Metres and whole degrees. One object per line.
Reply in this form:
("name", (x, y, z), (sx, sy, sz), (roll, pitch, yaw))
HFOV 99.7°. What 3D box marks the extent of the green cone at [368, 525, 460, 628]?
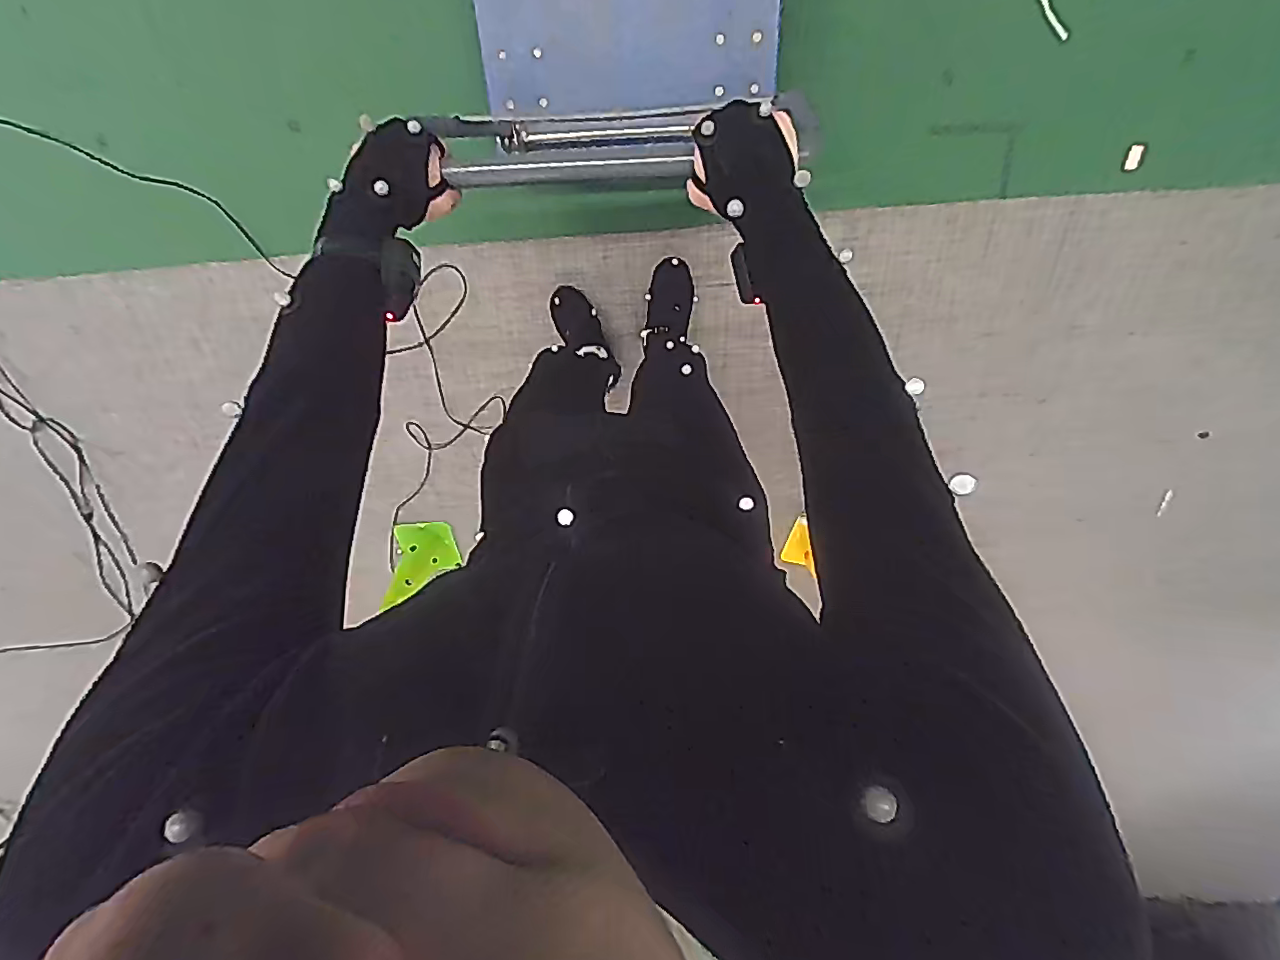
("green cone", (-0.756, 0.326, 1.728), (0.202, 0.368, 0.200), (-5, 119, 8))
